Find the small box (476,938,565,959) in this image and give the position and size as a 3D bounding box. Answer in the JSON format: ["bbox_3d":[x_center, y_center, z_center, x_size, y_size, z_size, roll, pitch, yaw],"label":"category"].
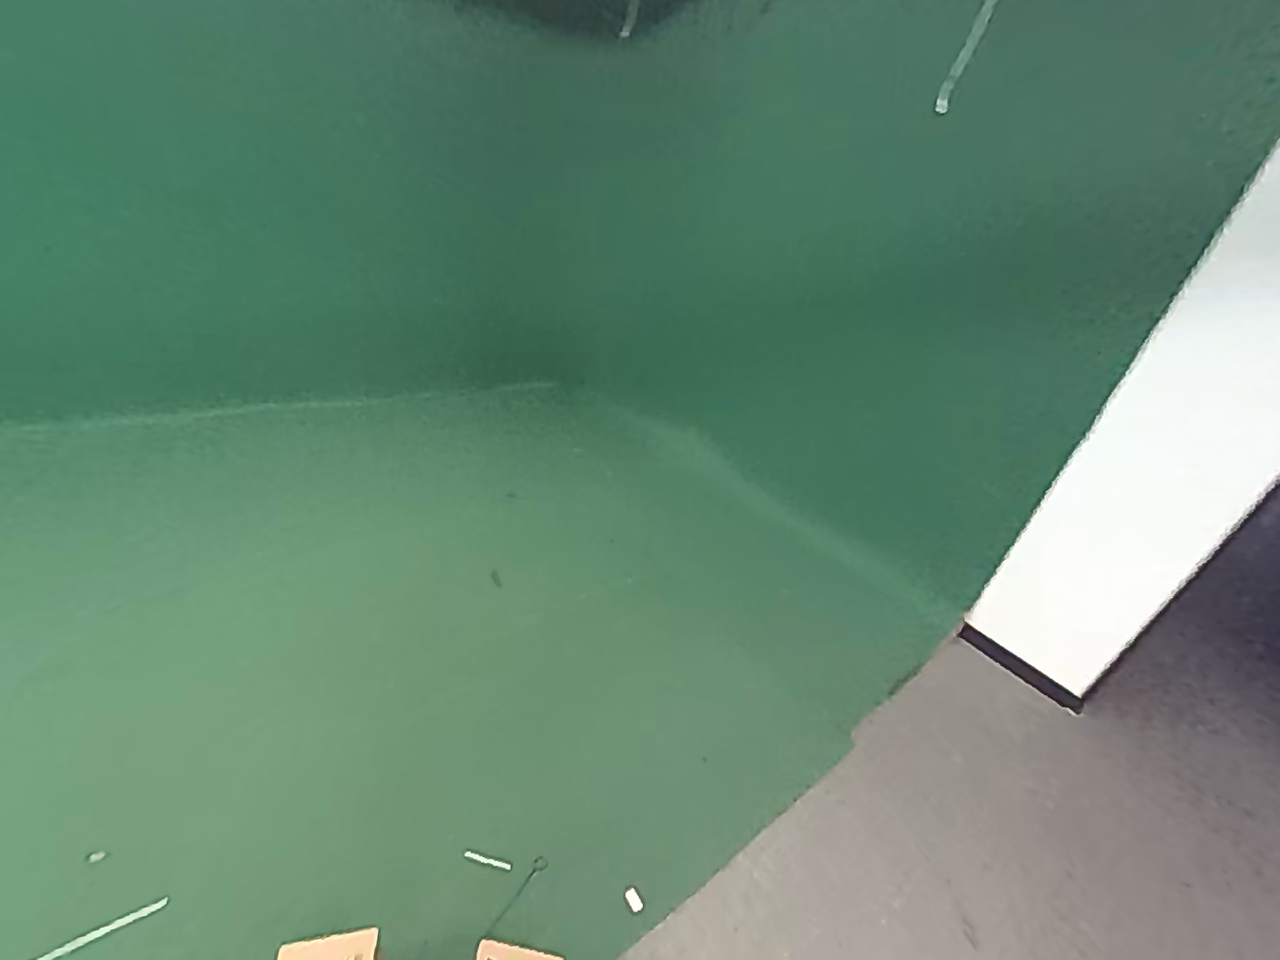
[{"bbox_3d":[-0.261,1.055,1.064,0.179,0.176,0.168,13,30,1],"label":"small box"}]
